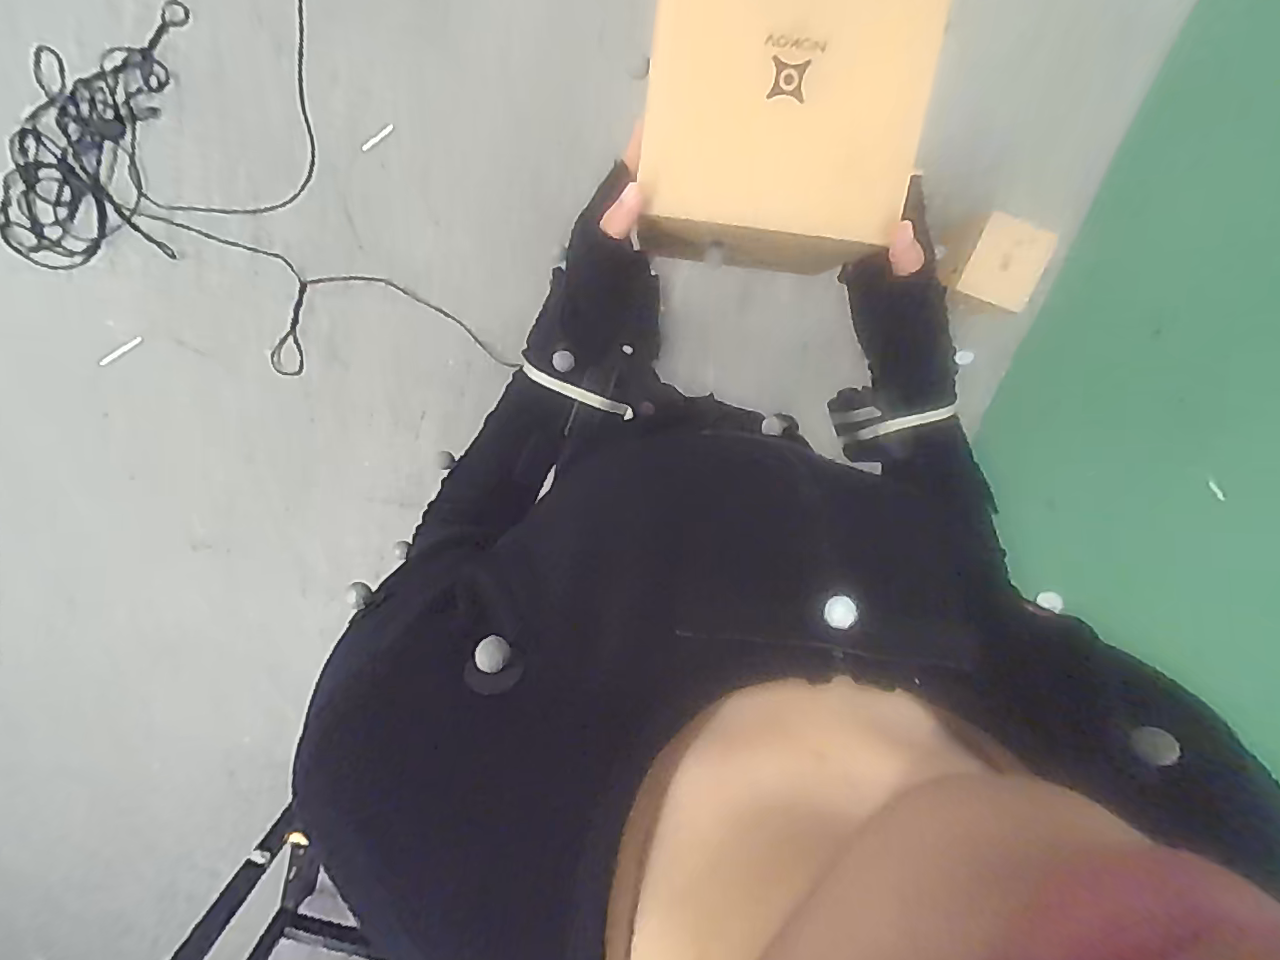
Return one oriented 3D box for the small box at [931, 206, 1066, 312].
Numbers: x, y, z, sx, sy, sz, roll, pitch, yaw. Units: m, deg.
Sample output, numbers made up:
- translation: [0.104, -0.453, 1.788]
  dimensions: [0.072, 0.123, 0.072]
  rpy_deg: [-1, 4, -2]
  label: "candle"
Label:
- translation: [0.810, -0.498, 1.247]
  dimensions: [0.168, 0.176, 0.179]
  rpy_deg: [19, 105, -5]
  label: "small box"
